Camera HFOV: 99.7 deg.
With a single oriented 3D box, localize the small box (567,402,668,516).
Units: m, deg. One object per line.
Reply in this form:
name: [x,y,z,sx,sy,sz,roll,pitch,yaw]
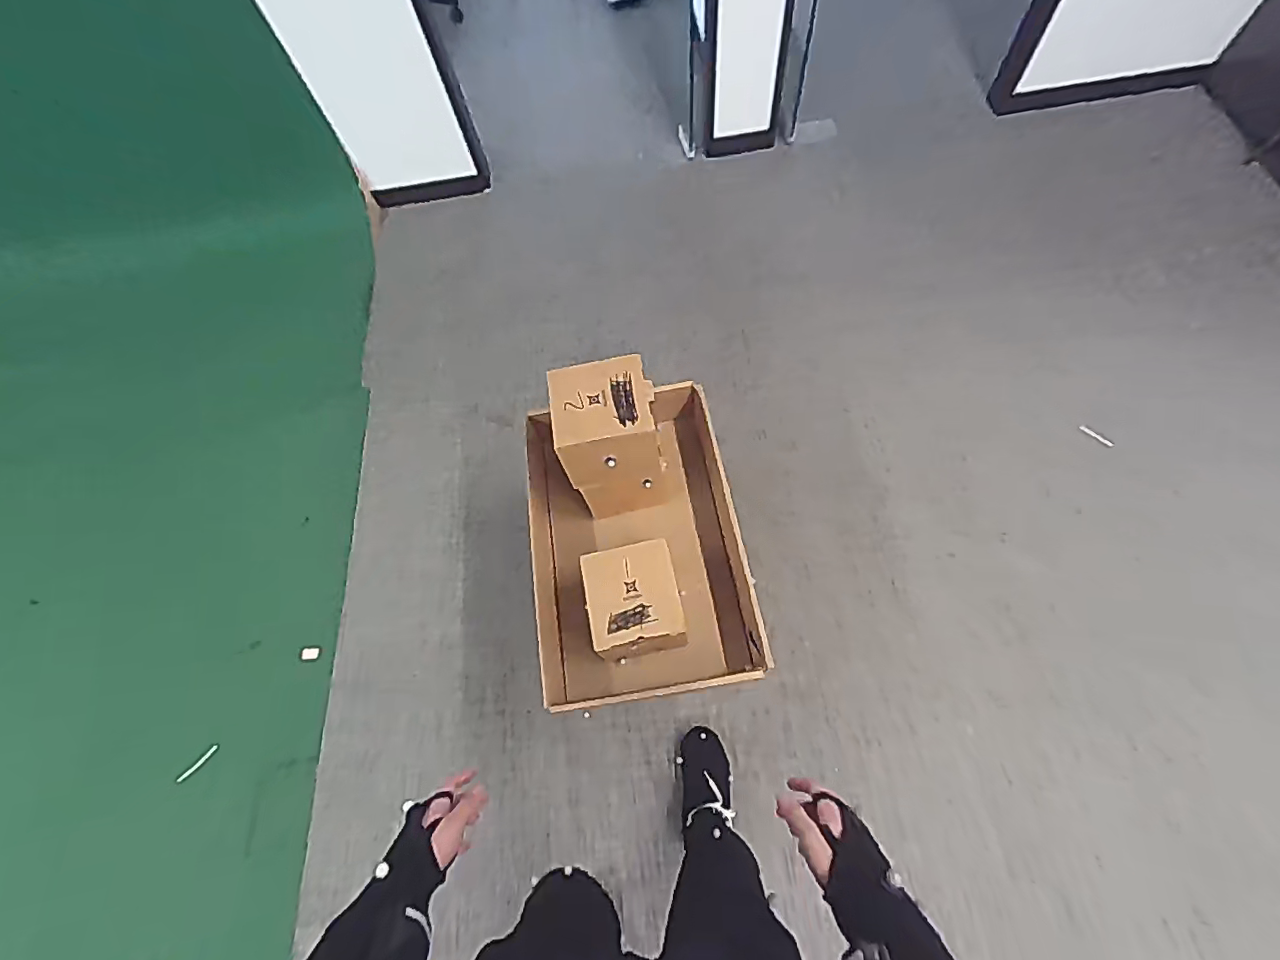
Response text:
small box: [-0.044,-0.037,1.156,0.179,0.176,0.168,-13,64,-1]
